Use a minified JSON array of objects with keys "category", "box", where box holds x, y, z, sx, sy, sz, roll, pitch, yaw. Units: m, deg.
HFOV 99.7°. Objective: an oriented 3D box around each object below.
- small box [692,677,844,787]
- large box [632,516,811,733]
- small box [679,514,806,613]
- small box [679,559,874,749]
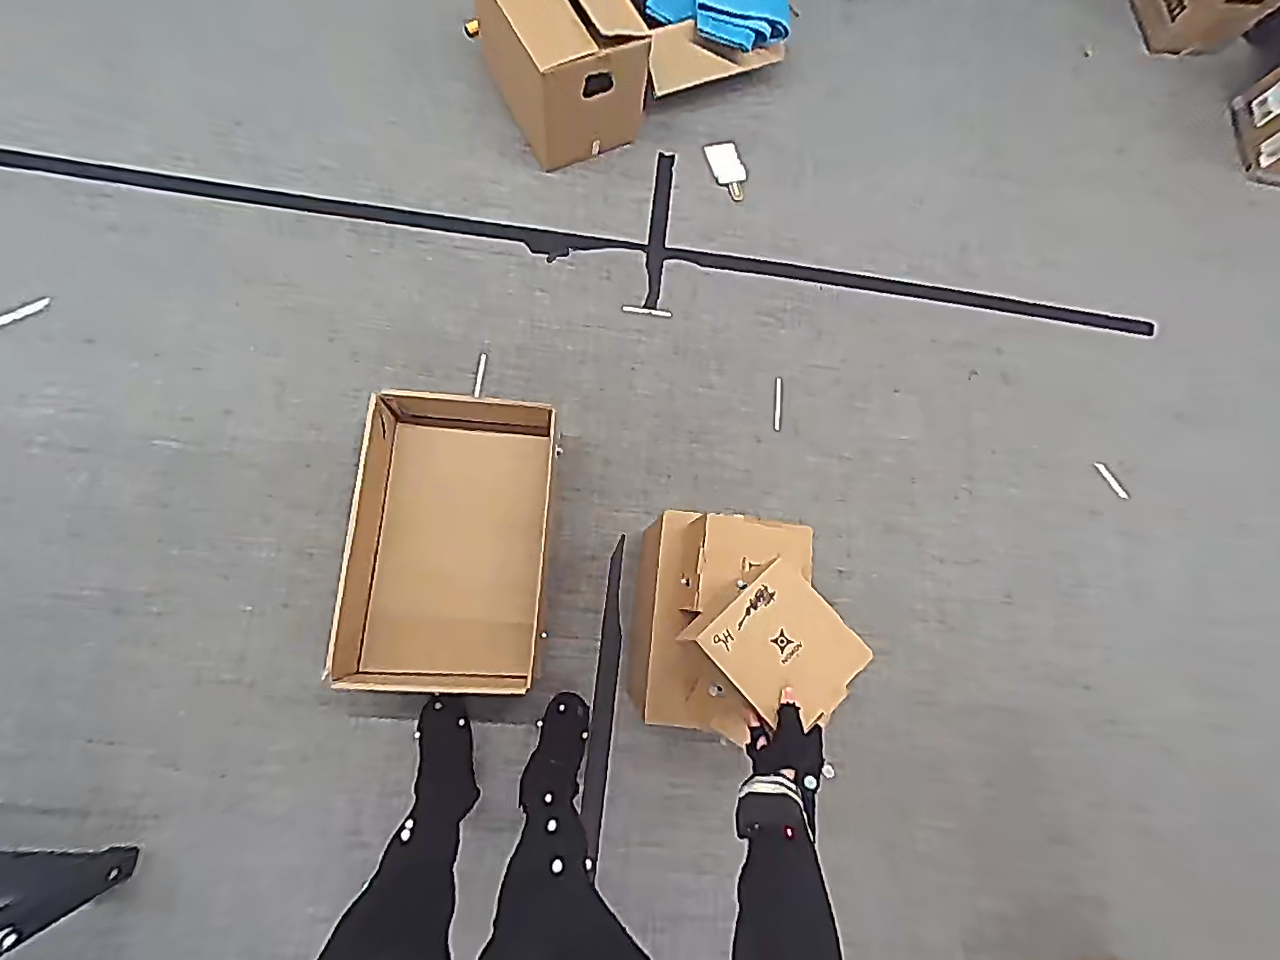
[{"category":"small box","box":[0.208,0.373,0.924,0.168,0.176,0.179,34,76,2]},{"category":"large box","box":[0.163,0.306,1.187,0.320,0.320,0.408,6,77,-5]},{"category":"small box","box":[0.175,0.164,0.969,0.179,0.176,0.168,10,79,-5]},{"category":"small box","box":[0.178,0.237,0.760,0.168,0.176,0.179,-39,80,-16]}]
